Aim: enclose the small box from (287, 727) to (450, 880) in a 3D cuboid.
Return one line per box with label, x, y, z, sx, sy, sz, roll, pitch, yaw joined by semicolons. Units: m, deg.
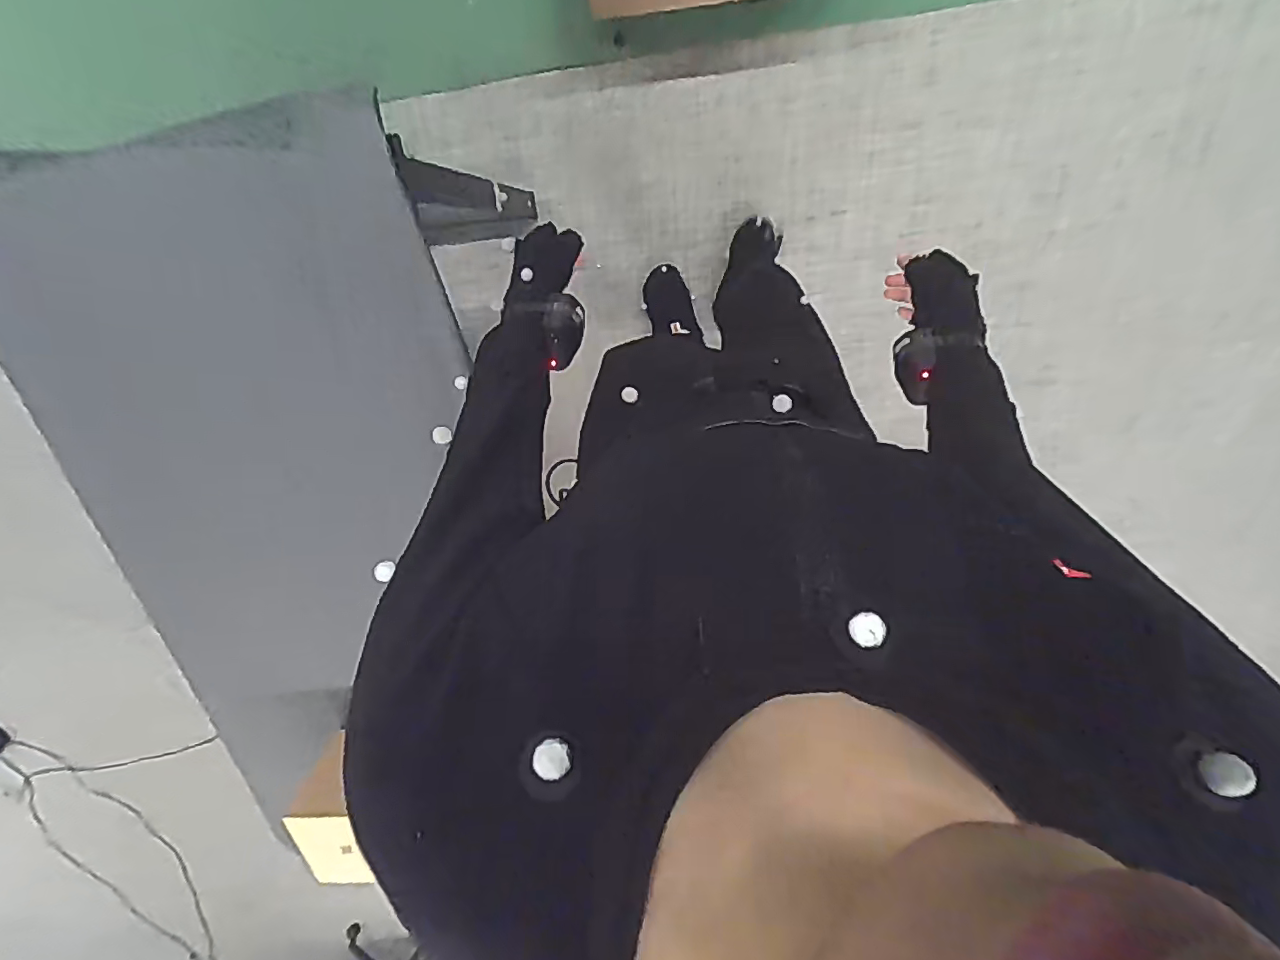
small box;-0.445;0.546;0.926;0.179;0.176;0.168;-5;114;6
